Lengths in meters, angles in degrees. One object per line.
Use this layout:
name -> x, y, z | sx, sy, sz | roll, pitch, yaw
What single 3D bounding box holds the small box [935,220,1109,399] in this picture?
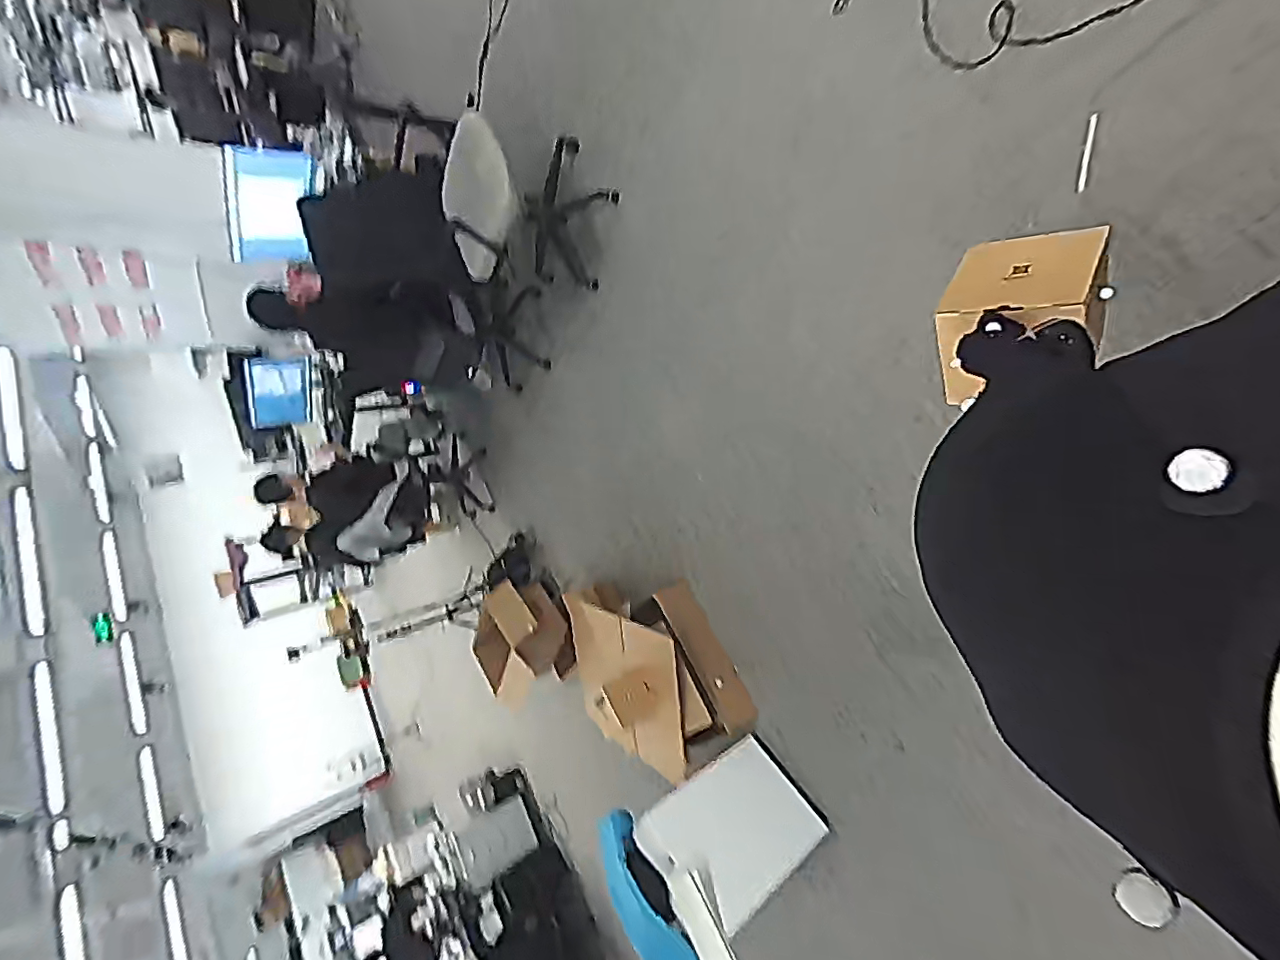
small box -> 0.549, -0.241, 0.783 | 0.168, 0.179, 0.176 | 12, 147, 43
